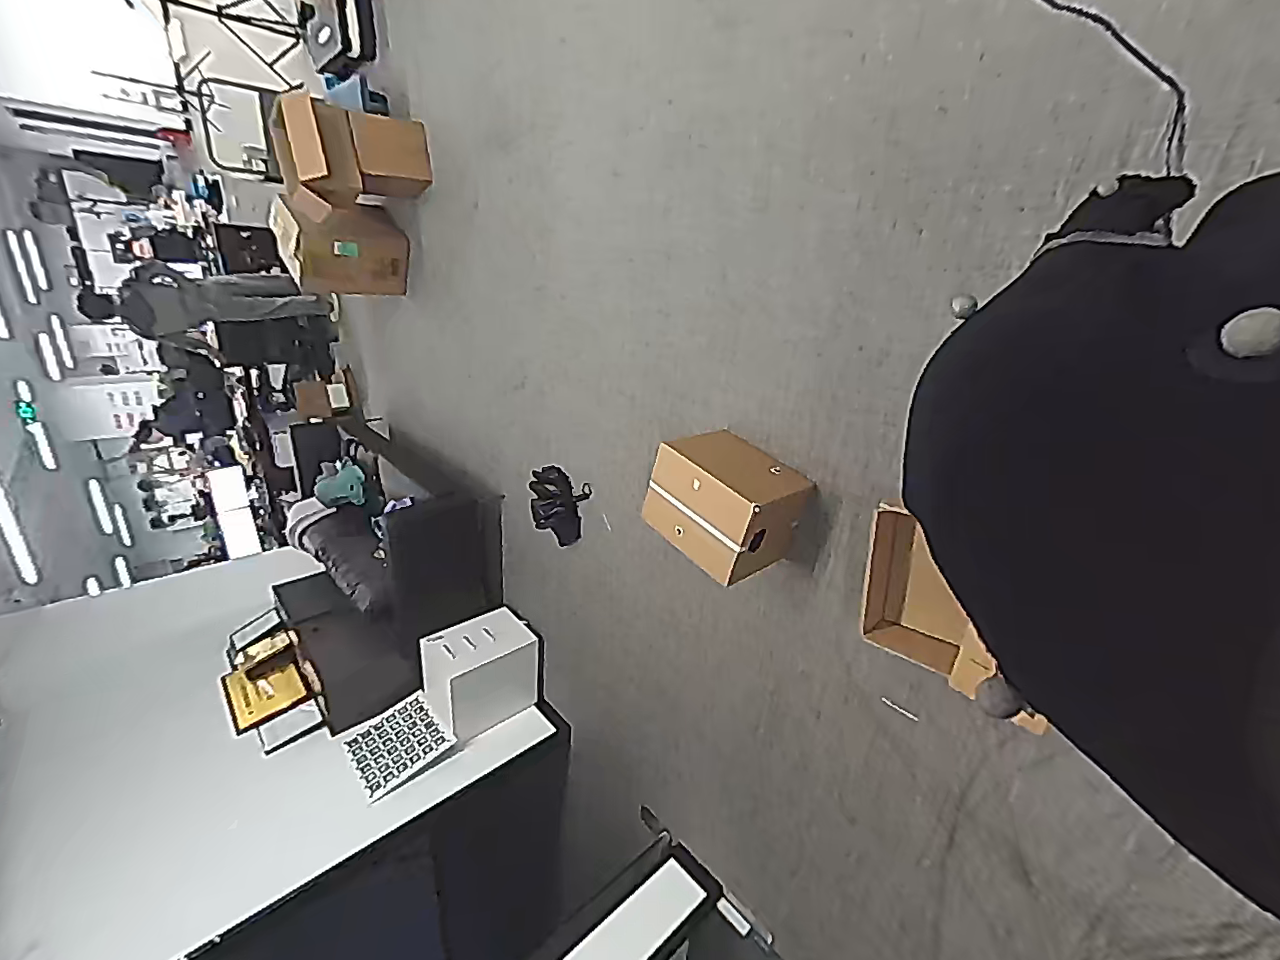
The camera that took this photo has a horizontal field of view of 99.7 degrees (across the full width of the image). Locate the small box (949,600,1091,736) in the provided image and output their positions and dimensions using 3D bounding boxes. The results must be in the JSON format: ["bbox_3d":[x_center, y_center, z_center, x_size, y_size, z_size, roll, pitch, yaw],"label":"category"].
[{"bbox_3d":[0.774,0.370,1.101,0.179,0.176,0.168,26,120,44],"label":"small box"}]
